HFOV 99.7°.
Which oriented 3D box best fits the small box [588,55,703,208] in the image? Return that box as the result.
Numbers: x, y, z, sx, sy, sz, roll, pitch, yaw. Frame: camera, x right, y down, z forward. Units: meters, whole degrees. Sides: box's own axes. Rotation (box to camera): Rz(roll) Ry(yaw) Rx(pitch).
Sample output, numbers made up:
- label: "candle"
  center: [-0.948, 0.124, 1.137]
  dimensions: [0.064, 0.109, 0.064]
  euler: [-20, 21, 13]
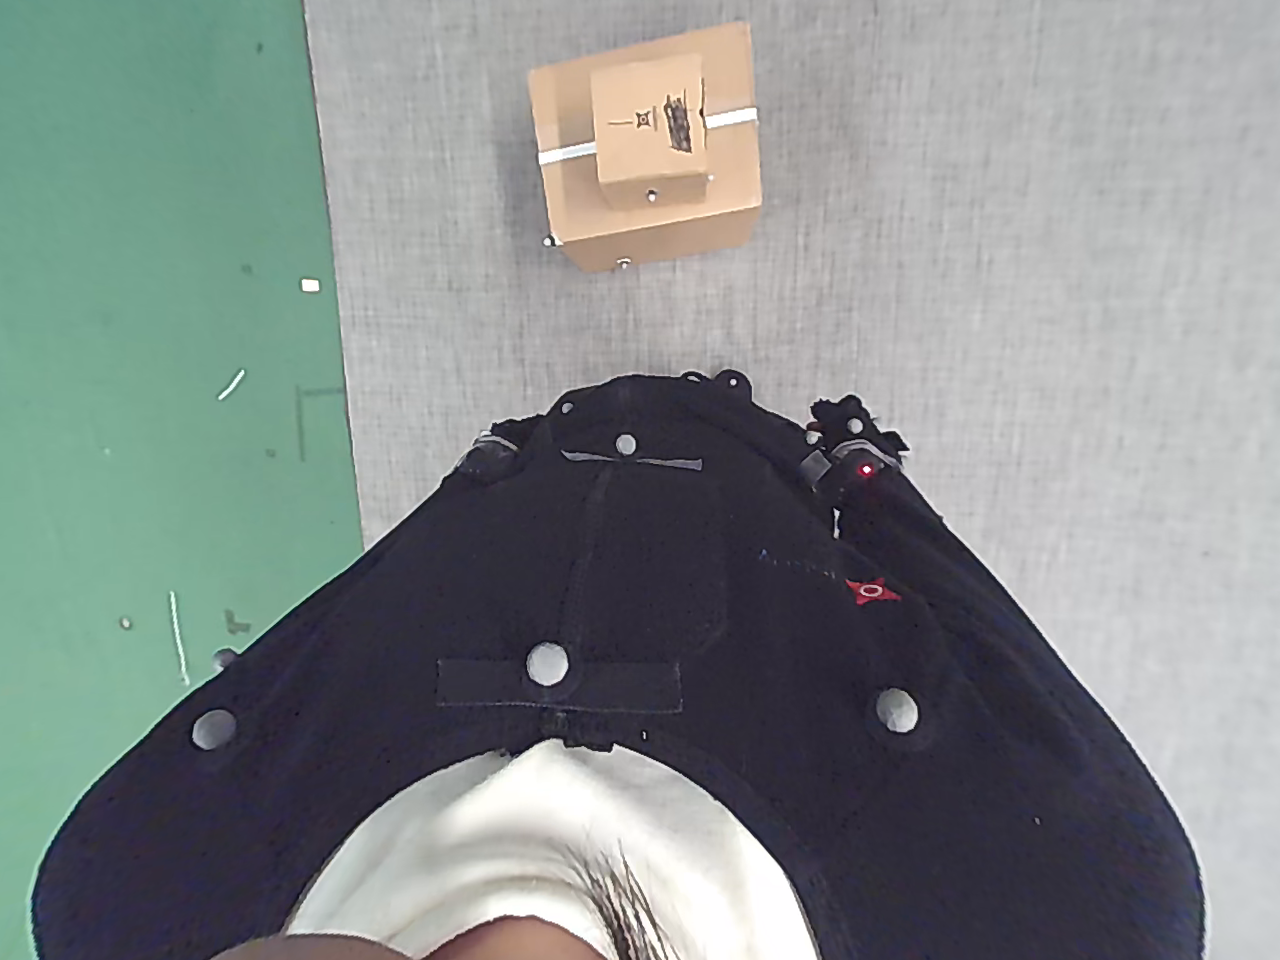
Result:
- label: "small box"
  center: [0.018, -0.584, 0.928]
  dimensions: [0.179, 0.176, 0.168]
  euler: [-2, 101, 8]
